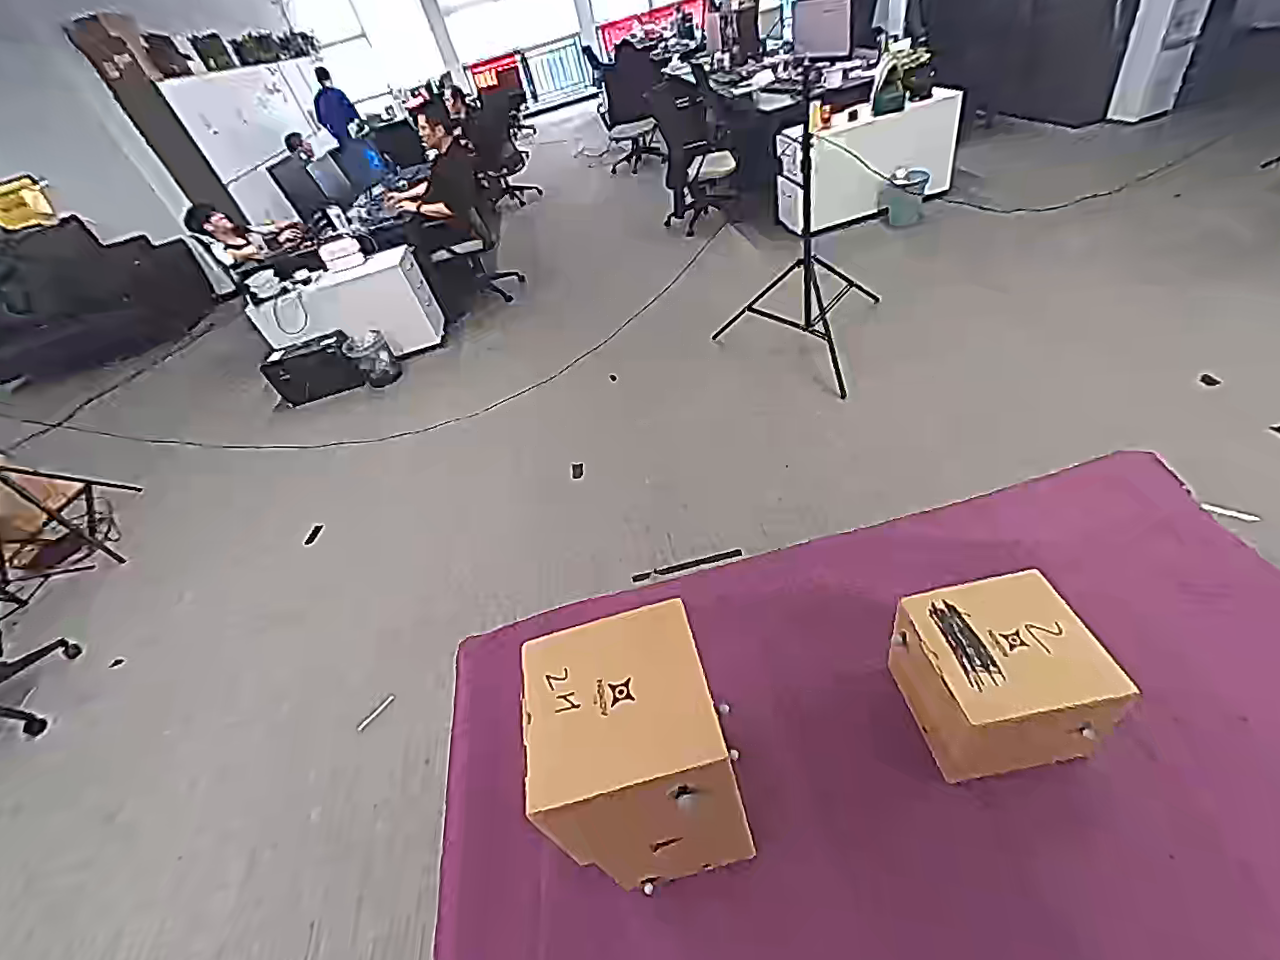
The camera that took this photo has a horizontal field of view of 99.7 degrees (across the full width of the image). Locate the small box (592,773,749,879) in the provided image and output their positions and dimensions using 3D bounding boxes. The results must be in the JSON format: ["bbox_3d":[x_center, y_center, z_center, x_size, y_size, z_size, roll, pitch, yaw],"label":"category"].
[{"bbox_3d":[0.029,0.367,0.671,0.168,0.176,0.179,-16,41,1],"label":"small box"}]

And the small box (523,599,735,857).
[{"bbox_3d":[-0.008,0.255,0.555,0.179,0.176,0.168,-16,41,0],"label":"small box"}]
